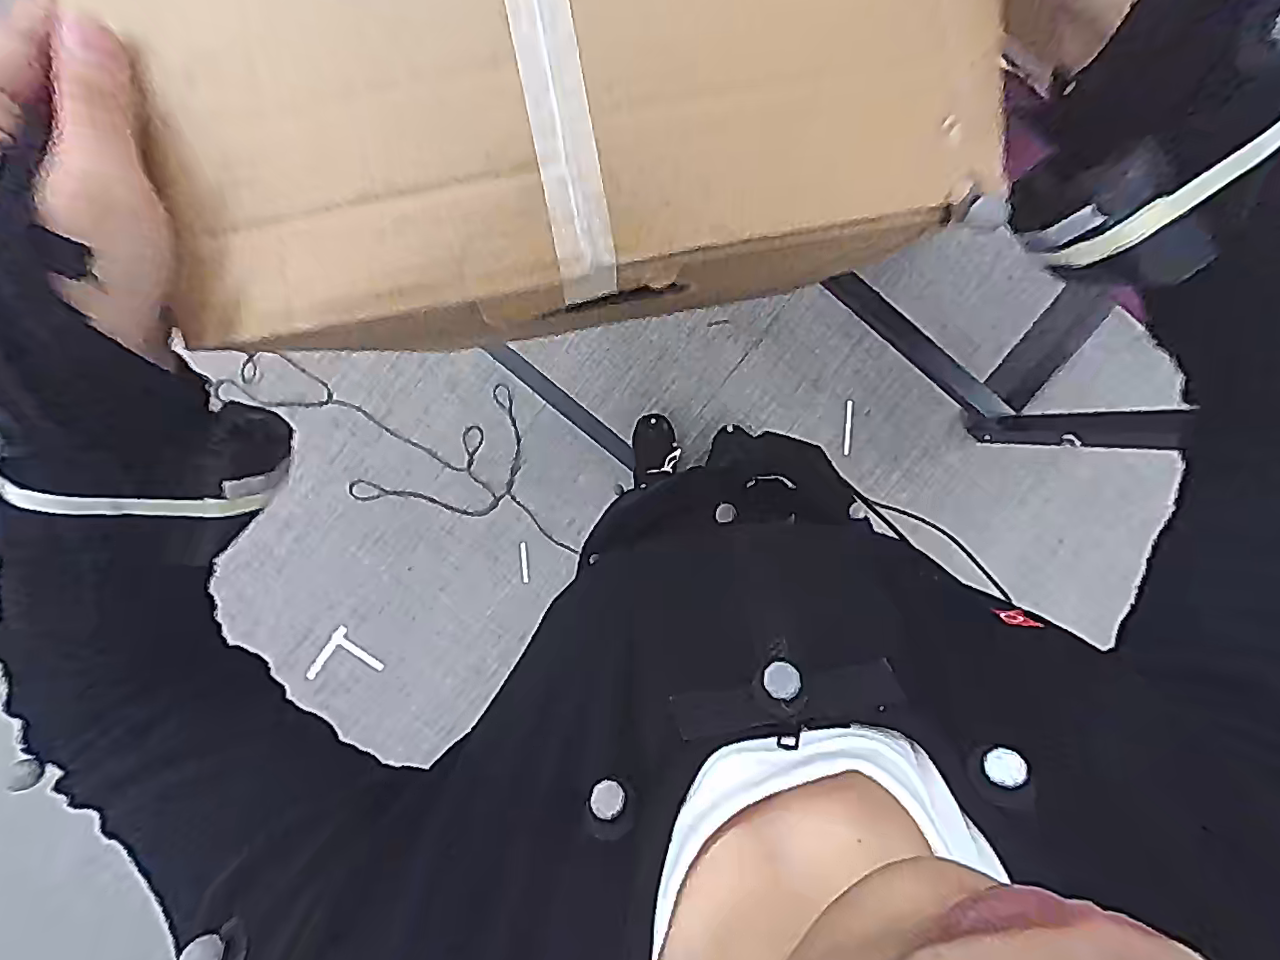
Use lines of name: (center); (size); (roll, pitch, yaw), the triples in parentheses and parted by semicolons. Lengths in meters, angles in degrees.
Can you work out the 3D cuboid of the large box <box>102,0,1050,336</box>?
large box: (-0.045, -0.309, 0.290); (0.320, 0.320, 0.408); (-10, 105, 2)
